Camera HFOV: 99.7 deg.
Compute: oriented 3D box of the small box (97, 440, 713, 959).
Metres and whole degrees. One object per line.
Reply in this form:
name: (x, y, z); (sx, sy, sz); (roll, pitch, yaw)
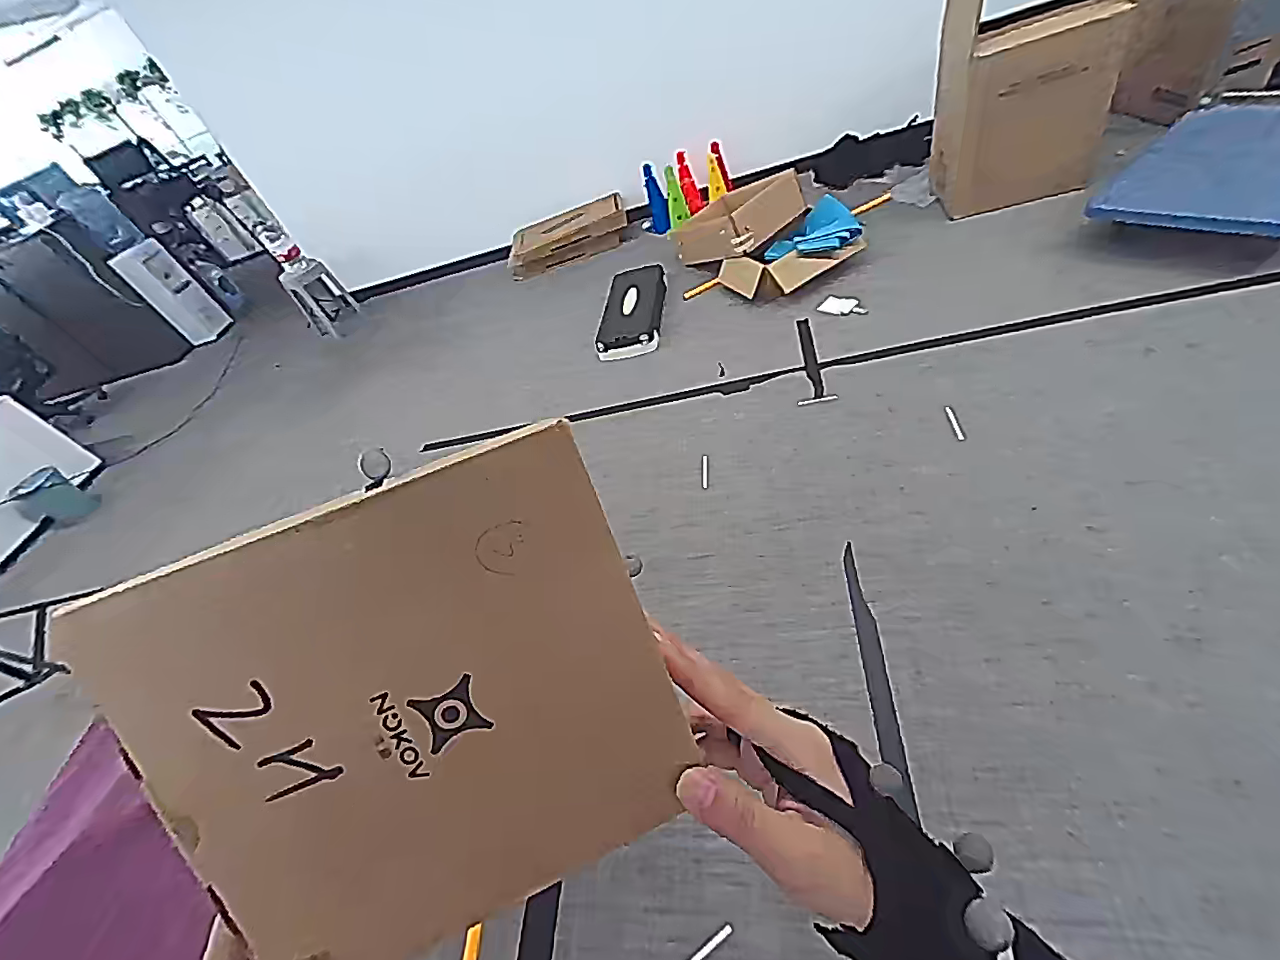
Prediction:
small box: (-0.090, 0.082, 0.281); (0.179, 0.168, 0.176); (-22, 9, -9)
